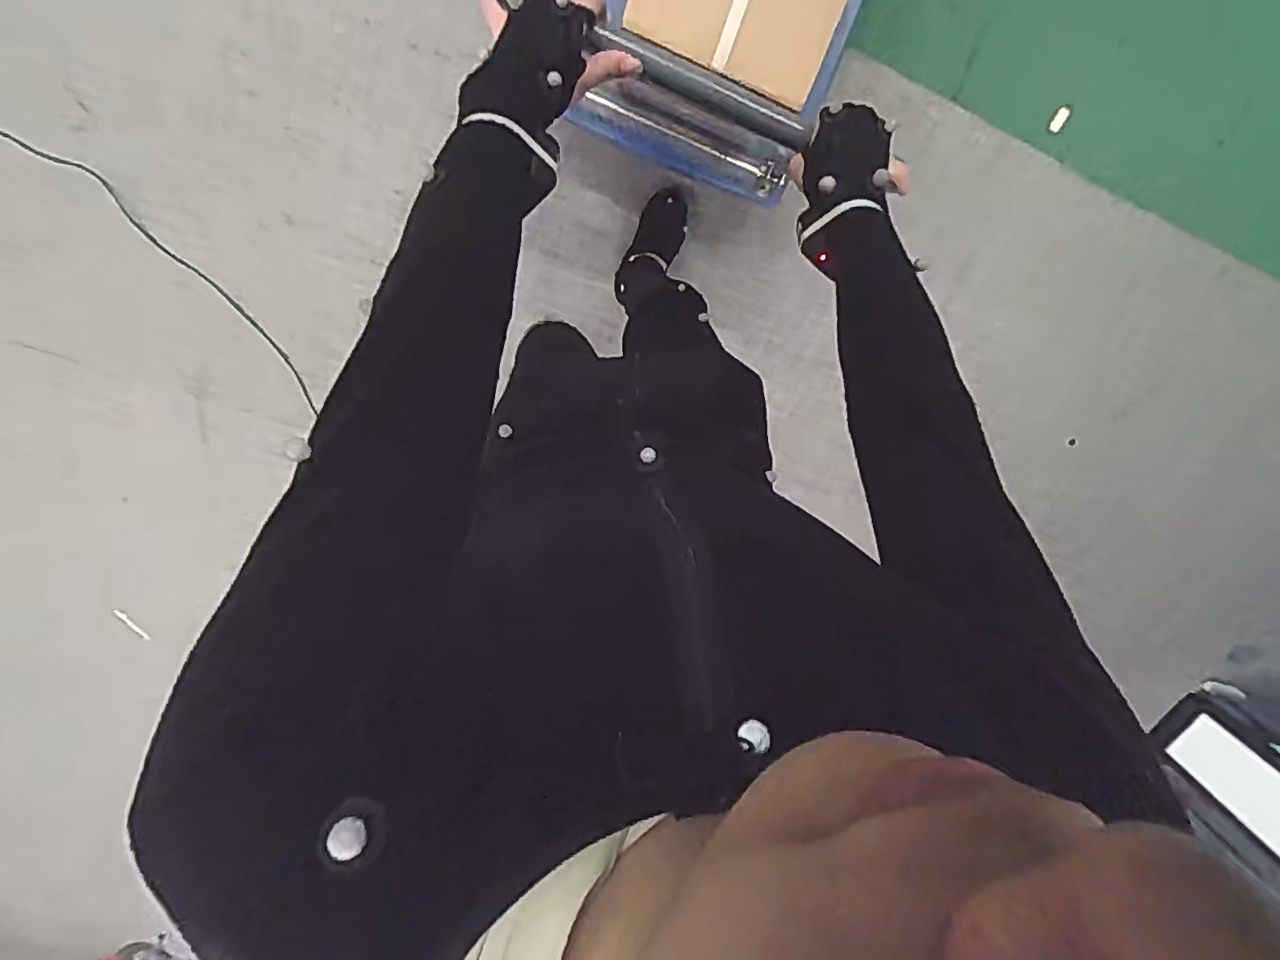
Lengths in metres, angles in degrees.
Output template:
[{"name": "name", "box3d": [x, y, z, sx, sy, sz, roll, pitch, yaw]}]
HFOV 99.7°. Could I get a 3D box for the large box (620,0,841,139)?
[{"name": "large box", "box3d": [0.168, -0.877, 0.918, 0.320, 0.320, 0.408, 17, 111, -12]}]
